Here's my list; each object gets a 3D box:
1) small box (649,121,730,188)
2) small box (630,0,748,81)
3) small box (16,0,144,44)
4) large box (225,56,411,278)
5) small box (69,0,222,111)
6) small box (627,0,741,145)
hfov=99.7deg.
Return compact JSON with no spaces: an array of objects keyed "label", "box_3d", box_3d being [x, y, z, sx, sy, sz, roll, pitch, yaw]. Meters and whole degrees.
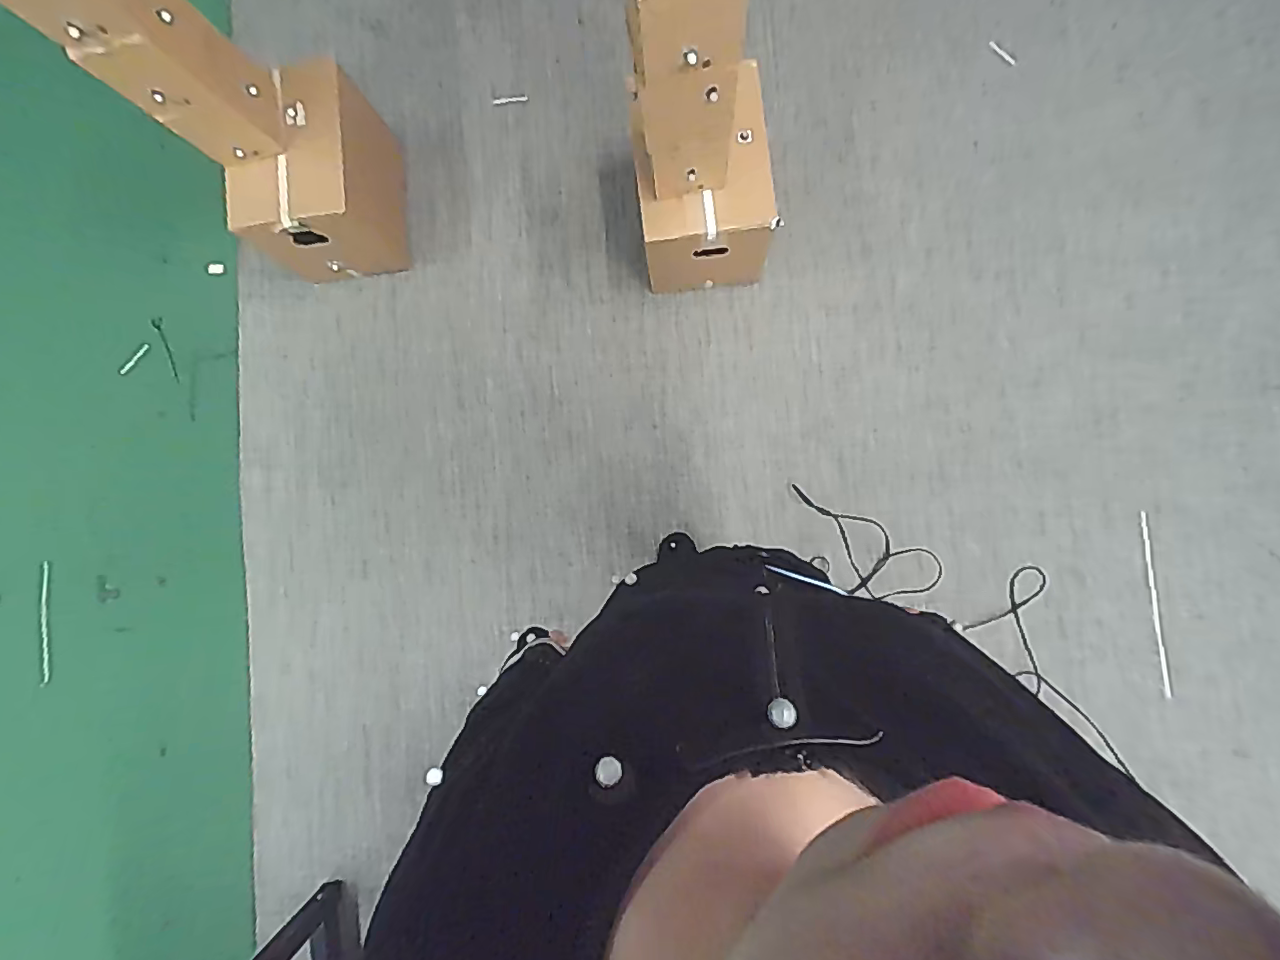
[{"label":"small box","box_3d":[0.099,-0.759,1.163,0.168,0.176,0.179,-9,87,5]},{"label":"small box","box_3d":[0.067,-0.776,0.835,0.168,0.176,0.179,-12,87,5]},{"label":"small box","box_3d":[-1.008,-0.912,0.931,0.168,0.176,0.179,-4,88,8]},{"label":"large box","box_3d":[-0.865,-0.829,1.487,0.320,0.320,0.408,-6,86,5]},{"label":"small box","box_3d":[-0.991,-0.898,1.093,0.168,0.176,0.179,-6,88,8]},{"label":"small box","box_3d":[0.081,-0.762,0.999,0.179,0.176,0.168,-9,86,6]}]
